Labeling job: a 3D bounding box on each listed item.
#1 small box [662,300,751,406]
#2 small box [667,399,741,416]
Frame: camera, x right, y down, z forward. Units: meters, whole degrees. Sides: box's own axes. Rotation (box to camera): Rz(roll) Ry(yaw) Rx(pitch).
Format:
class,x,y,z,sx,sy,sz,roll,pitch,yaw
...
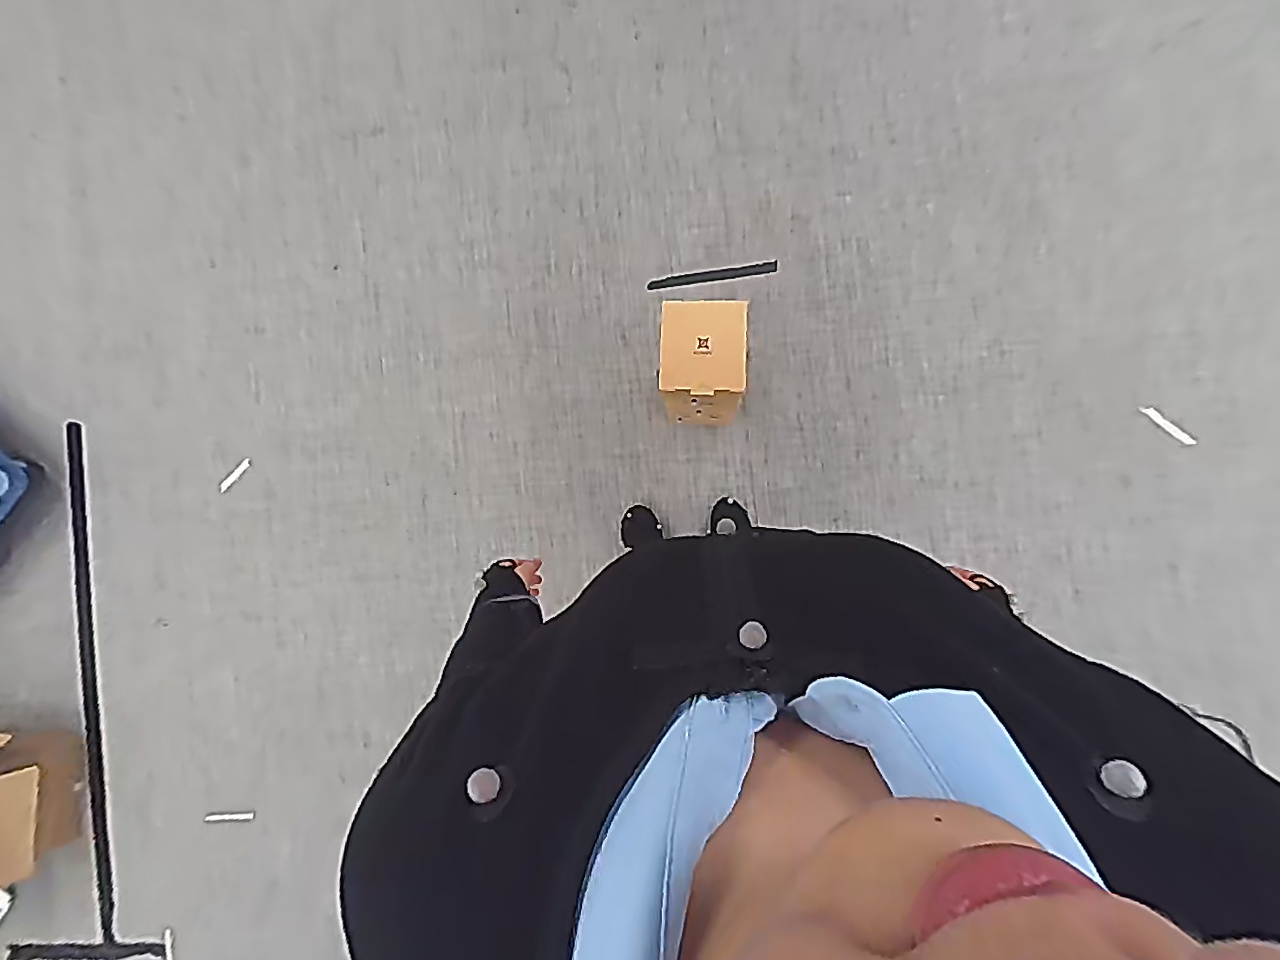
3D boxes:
class,x,y,z,sx,sy,sz,roll,pitch,yaw
small box,0.132,-0.252,1.102,0.168,0.176,0.179,1,89,5
small box,0.151,-0.246,1.263,0.168,0.176,0.179,1,88,5
